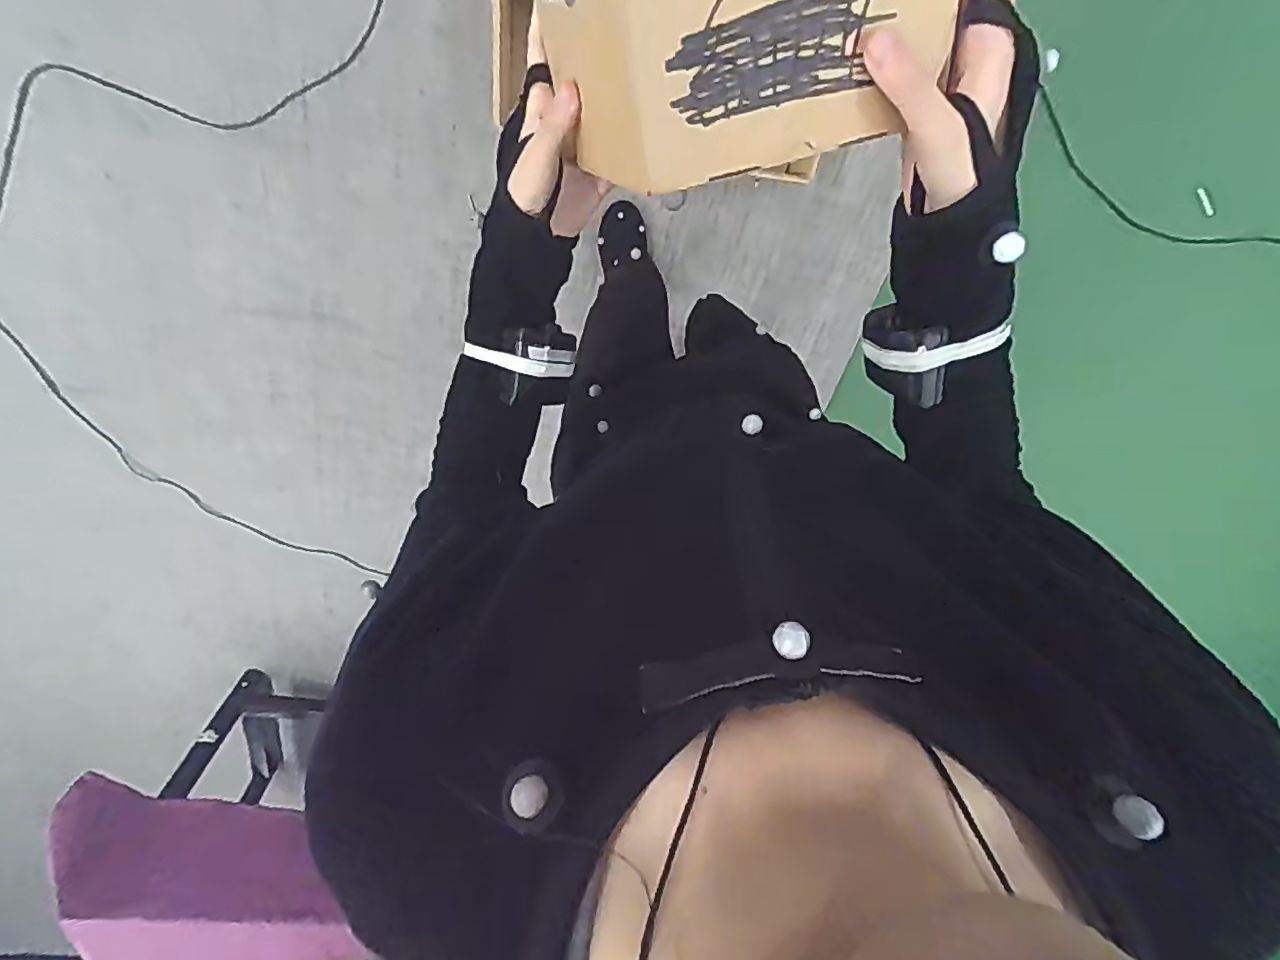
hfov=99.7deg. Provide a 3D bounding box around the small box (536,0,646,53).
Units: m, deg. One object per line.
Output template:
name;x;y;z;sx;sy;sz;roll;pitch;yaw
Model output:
small box;-0.077;-0.853;0.922;0.179;0.176;0.168;5;122;-8
